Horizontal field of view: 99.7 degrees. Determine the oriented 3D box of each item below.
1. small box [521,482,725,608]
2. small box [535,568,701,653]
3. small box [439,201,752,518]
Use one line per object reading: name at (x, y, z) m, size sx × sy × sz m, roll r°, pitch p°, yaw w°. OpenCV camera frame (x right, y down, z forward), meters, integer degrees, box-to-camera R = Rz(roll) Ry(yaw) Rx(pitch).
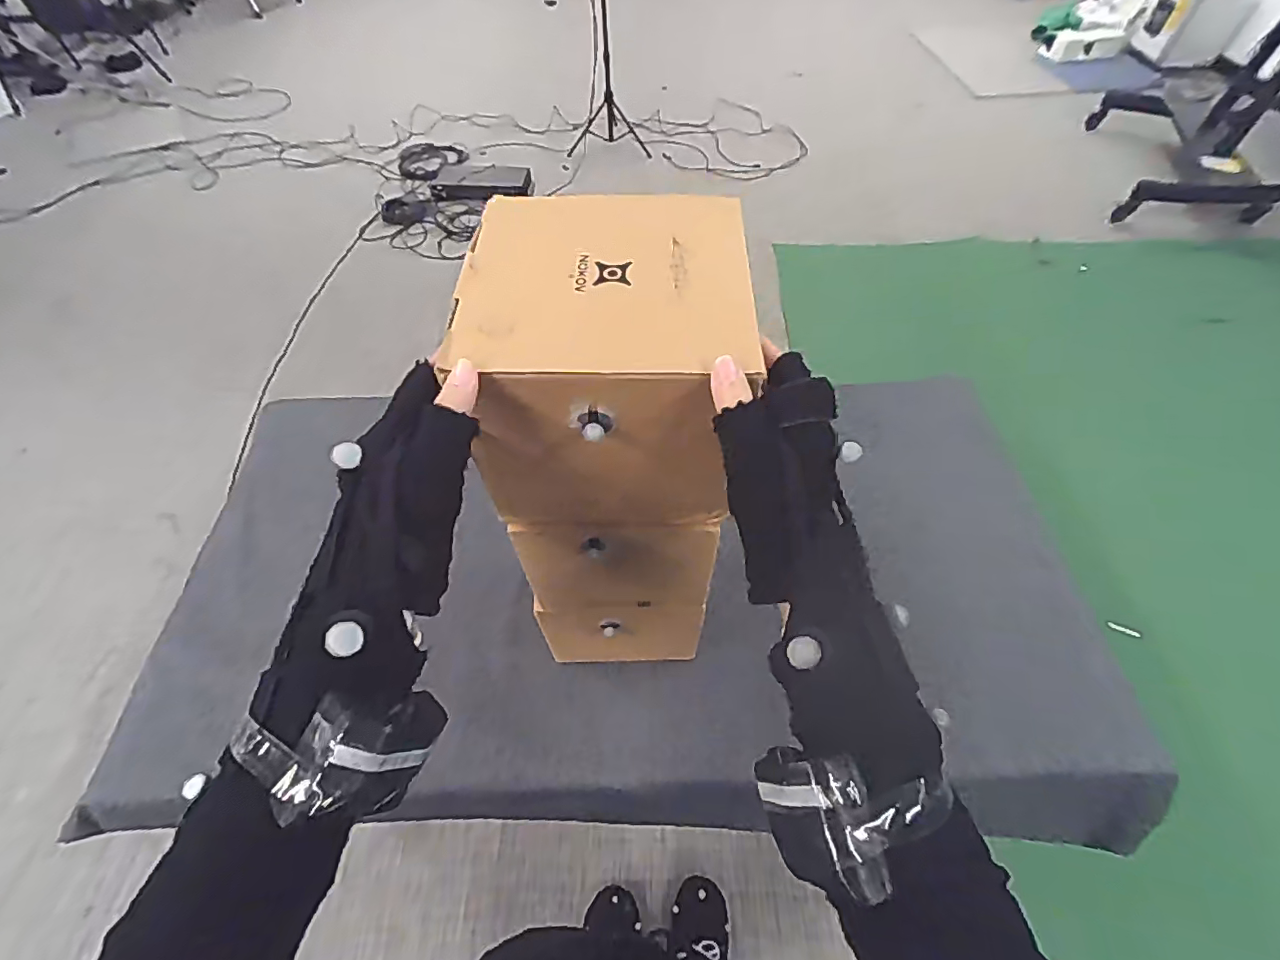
small box at (-0.017, 0.014, 0.540) m, size 0.168 × 0.176 × 0.179 m, roll -2°, pitch 57°, yaw -2°
small box at (-0.021, 0.109, 0.669) m, size 0.179 × 0.176 × 0.168 m, roll -1°, pitch 55°, yaw 0°
small box at (-0.022, -0.081, 0.403) m, size 0.179 × 0.176 × 0.168 m, roll 1°, pitch 57°, yaw 0°
